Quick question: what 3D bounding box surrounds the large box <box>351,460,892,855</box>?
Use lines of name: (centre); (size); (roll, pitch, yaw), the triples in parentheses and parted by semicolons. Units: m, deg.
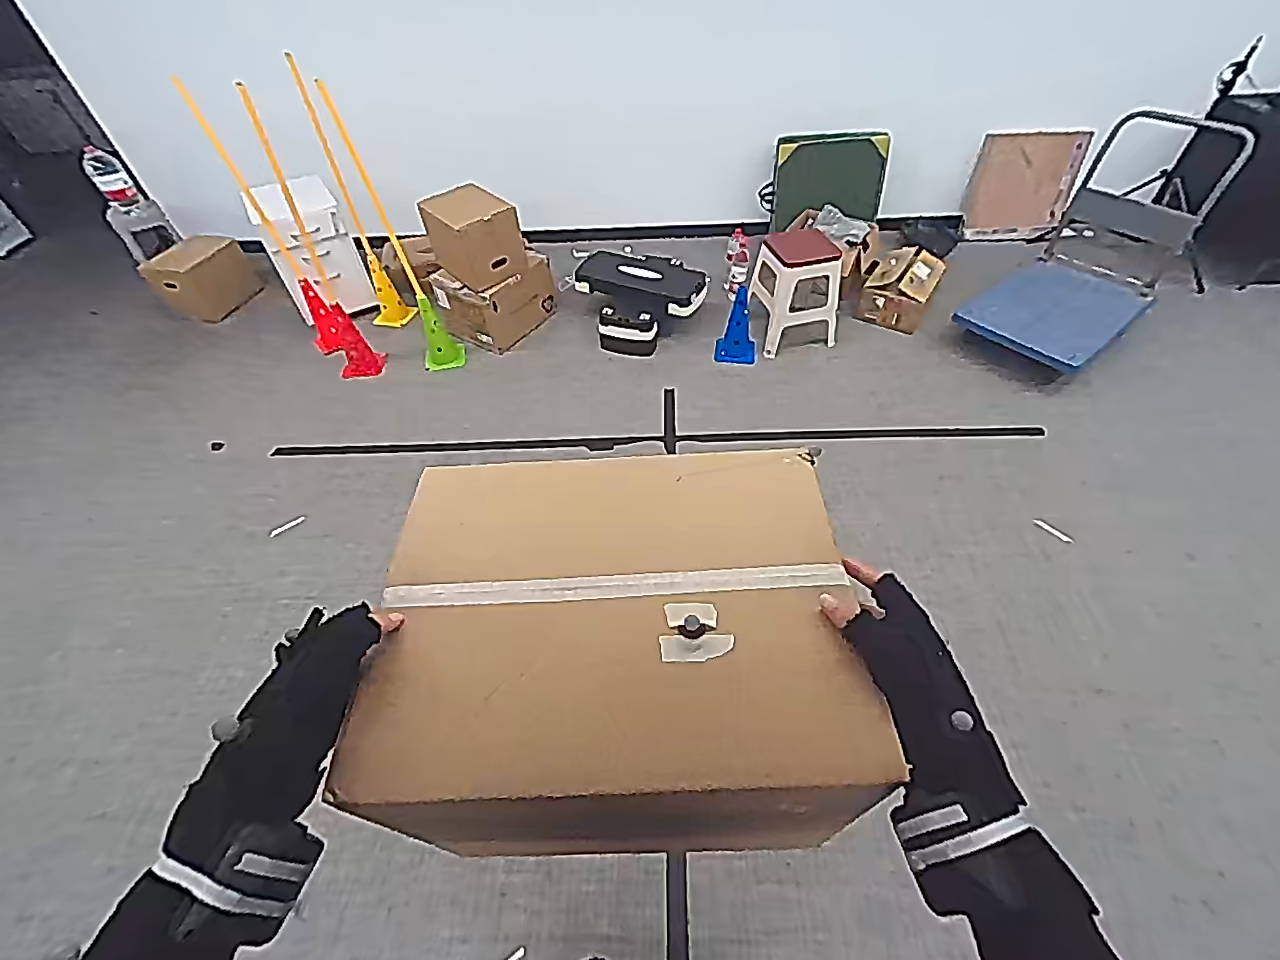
large box: (-0.014, 0.201, 0.598); (0.408, 0.320, 0.320); (-2, 49, 1)
